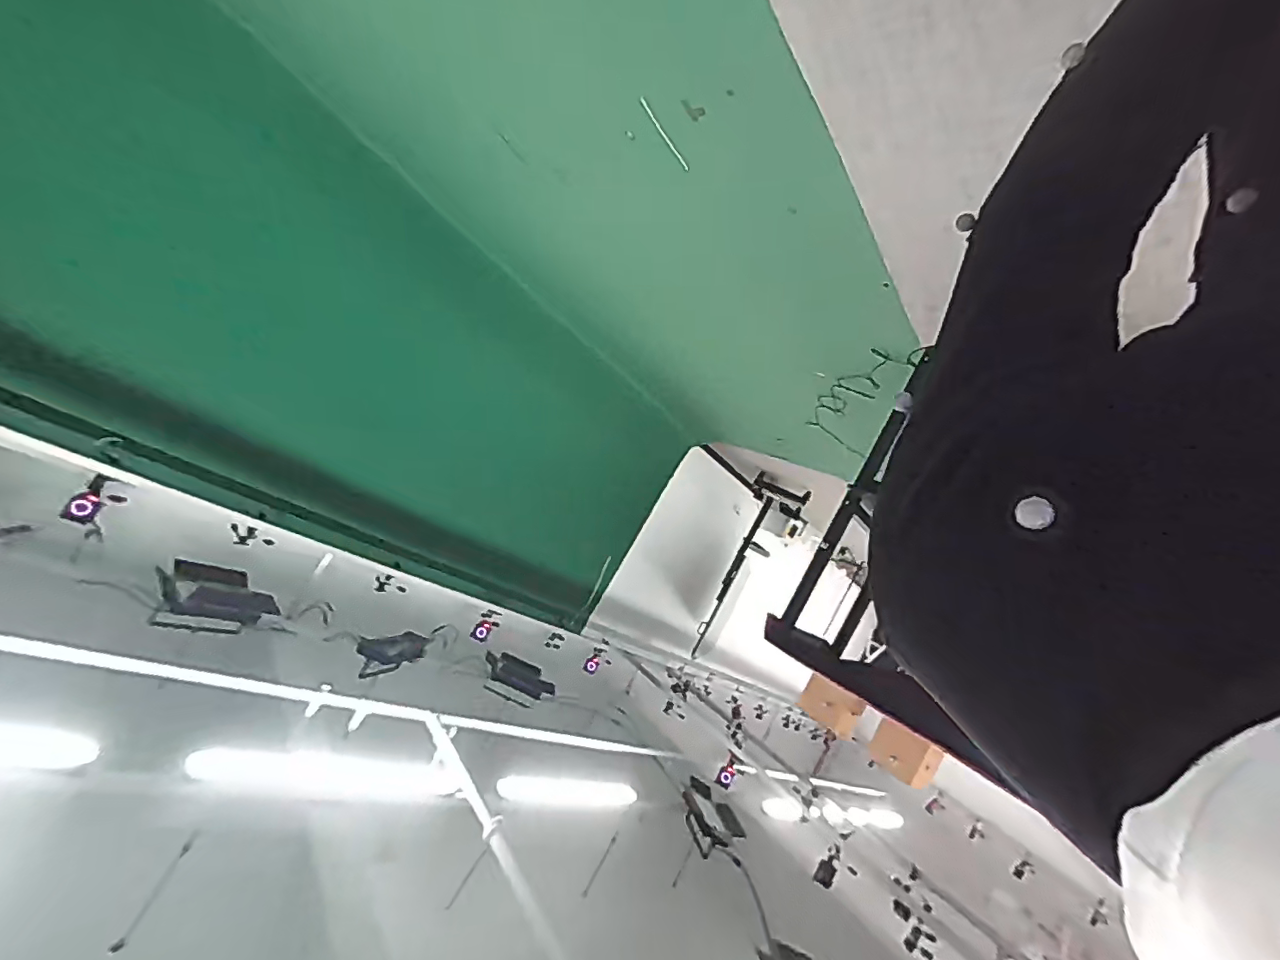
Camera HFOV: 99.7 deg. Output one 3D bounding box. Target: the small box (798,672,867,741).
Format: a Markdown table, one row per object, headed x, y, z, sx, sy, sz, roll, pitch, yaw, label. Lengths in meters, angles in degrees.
| x | y | z | sx | sy | sz | roll | pitch | yaw | label |
| --- | --- | --- | --- | --- | --- | --- | --- | --- | --- |
| 0.743 | 0.863 | 2.069 | 0.179 | 0.176 | 0.168 | 20 | 168 | 49 | small box |

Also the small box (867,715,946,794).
| x | y | z | sx | sy | sz | roll | pitch | yaw | label |
| --- | --- | --- | --- | --- | --- | --- | --- | --- | --- |
| 0.925 | 0.941 | 1.859 | 0.168 | 0.176 | 0.179 | 34 | 173 | -38 | small box |
